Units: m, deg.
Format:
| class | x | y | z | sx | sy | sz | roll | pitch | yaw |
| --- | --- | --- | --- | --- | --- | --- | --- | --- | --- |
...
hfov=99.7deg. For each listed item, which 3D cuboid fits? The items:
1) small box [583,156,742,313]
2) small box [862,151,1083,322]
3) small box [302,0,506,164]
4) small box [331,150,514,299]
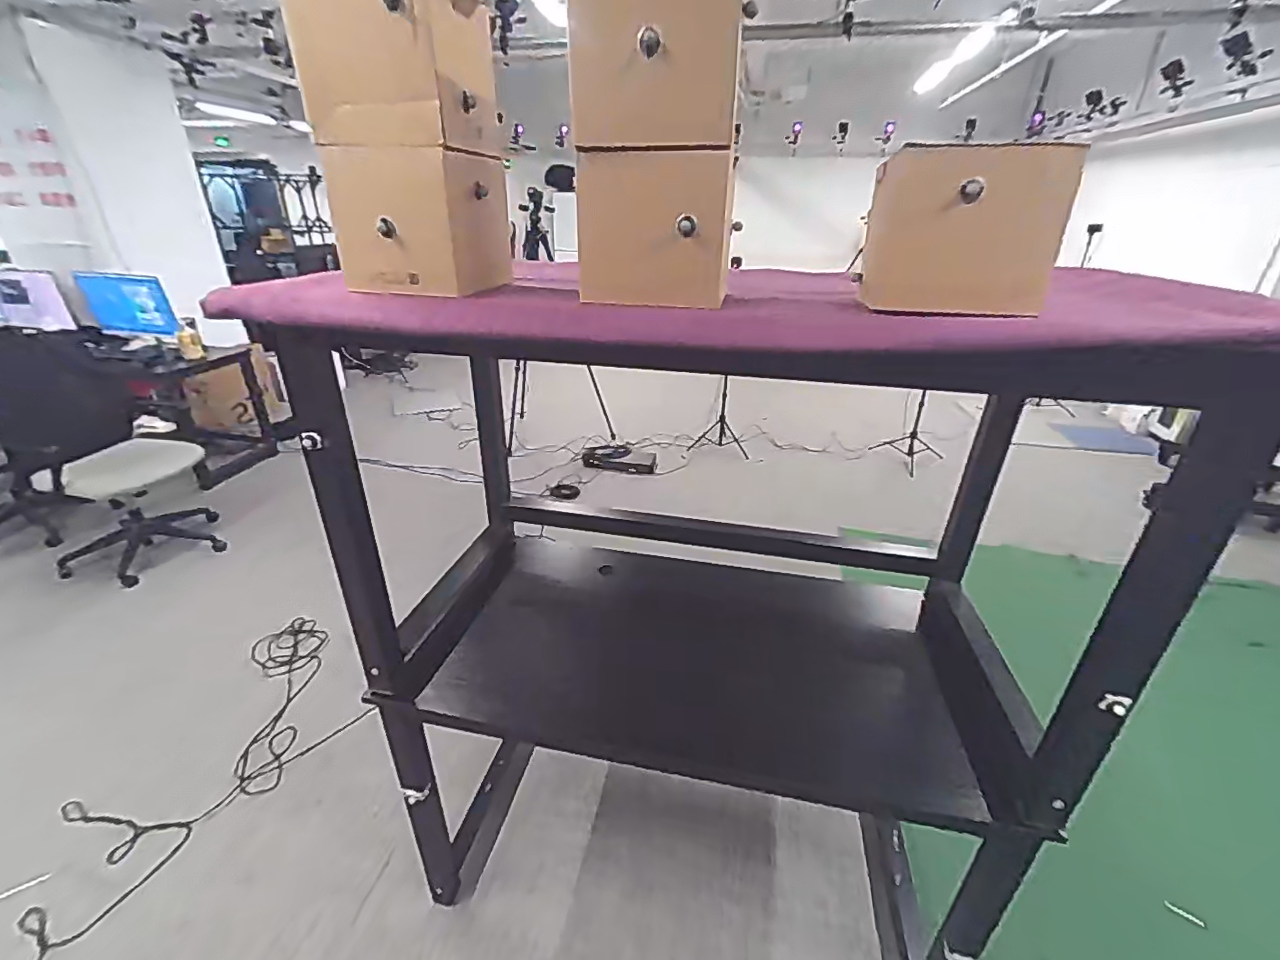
| class | x | y | z | sx | sy | sz | roll | pitch | yaw |
| --- | --- | --- | --- | --- | --- | --- | --- | --- | --- |
| small box | 0.034 | -0.314 | 0.702 | 0.179 | 0.176 | 0.168 | 5 | 25 | 10 |
| small box | 0.379 | -0.288 | 0.660 | 0.179 | 0.176 | 0.168 | 7 | 24 | 12 |
| small box | -0.283 | -0.496 | 0.679 | 0.179 | 0.176 | 0.168 | 6 | 27 | 7 |
| small box | -0.282 | -0.350 | 0.750 | 0.168 | 0.176 | 0.179 | 7 | 26 | 9 |
